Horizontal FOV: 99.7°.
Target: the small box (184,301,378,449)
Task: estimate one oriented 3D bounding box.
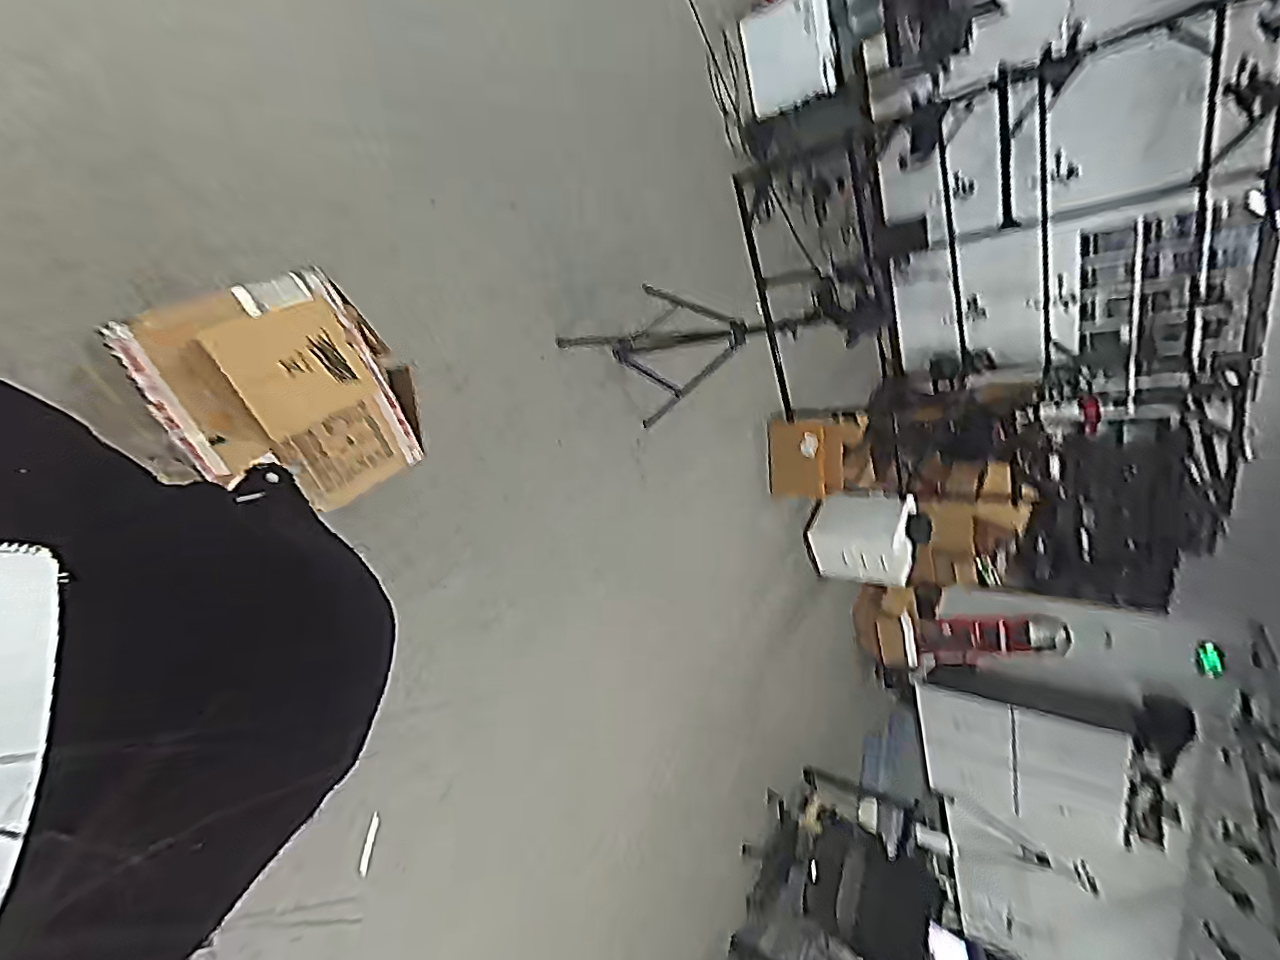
[{"bbox_3d":[-0.556,-0.161,0.840,0.179,0.176,0.168,-41,121,-37],"label":"small box"}]
